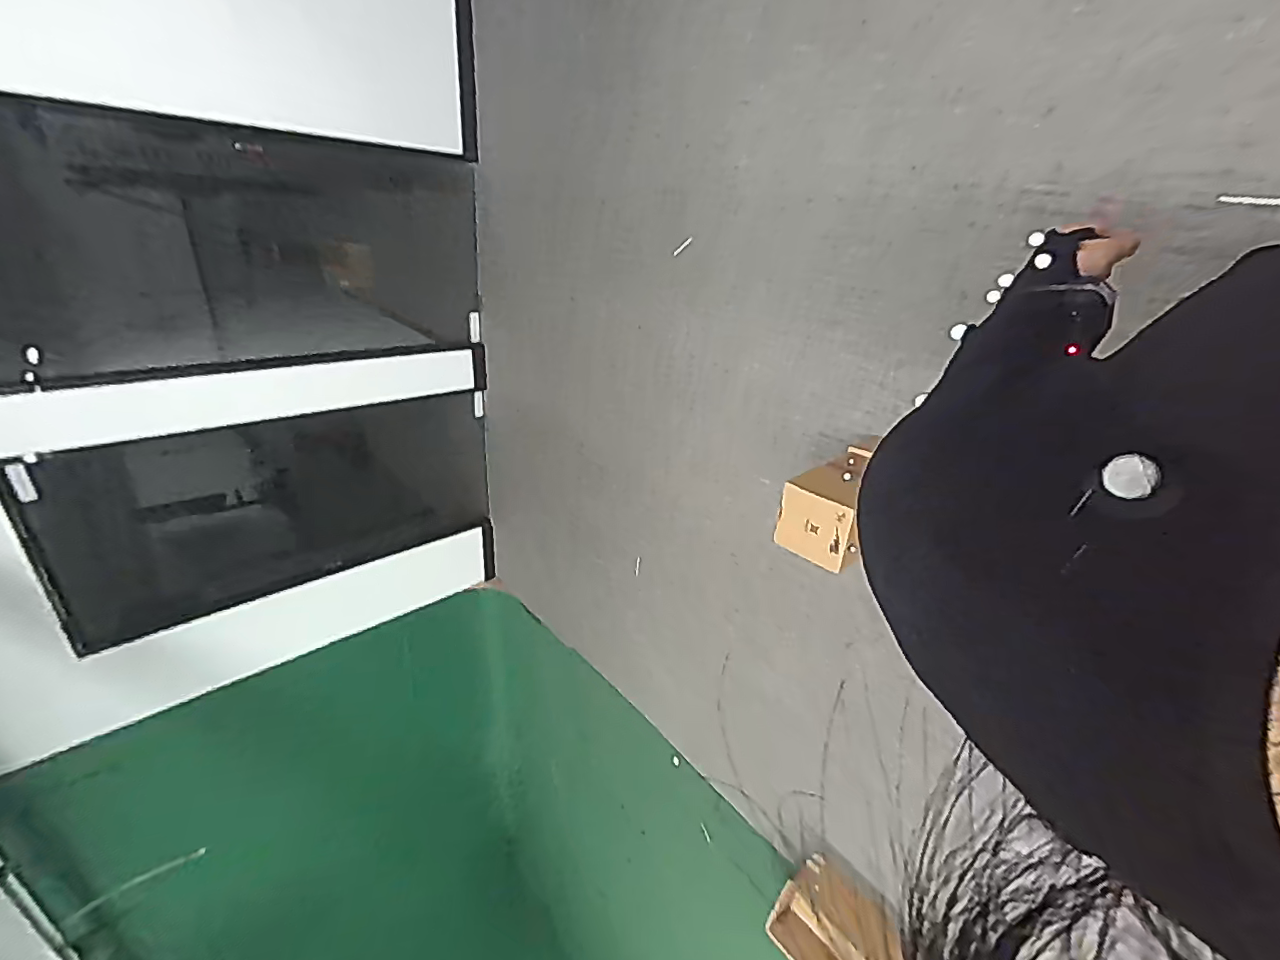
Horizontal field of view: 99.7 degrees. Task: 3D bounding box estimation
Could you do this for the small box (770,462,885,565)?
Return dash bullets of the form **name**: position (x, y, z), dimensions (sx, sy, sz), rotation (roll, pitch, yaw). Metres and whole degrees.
- **small box**: position (0.438, 0.068, 1.270), dimensions (0.179, 0.176, 0.168), rotation (29, 125, 40)
